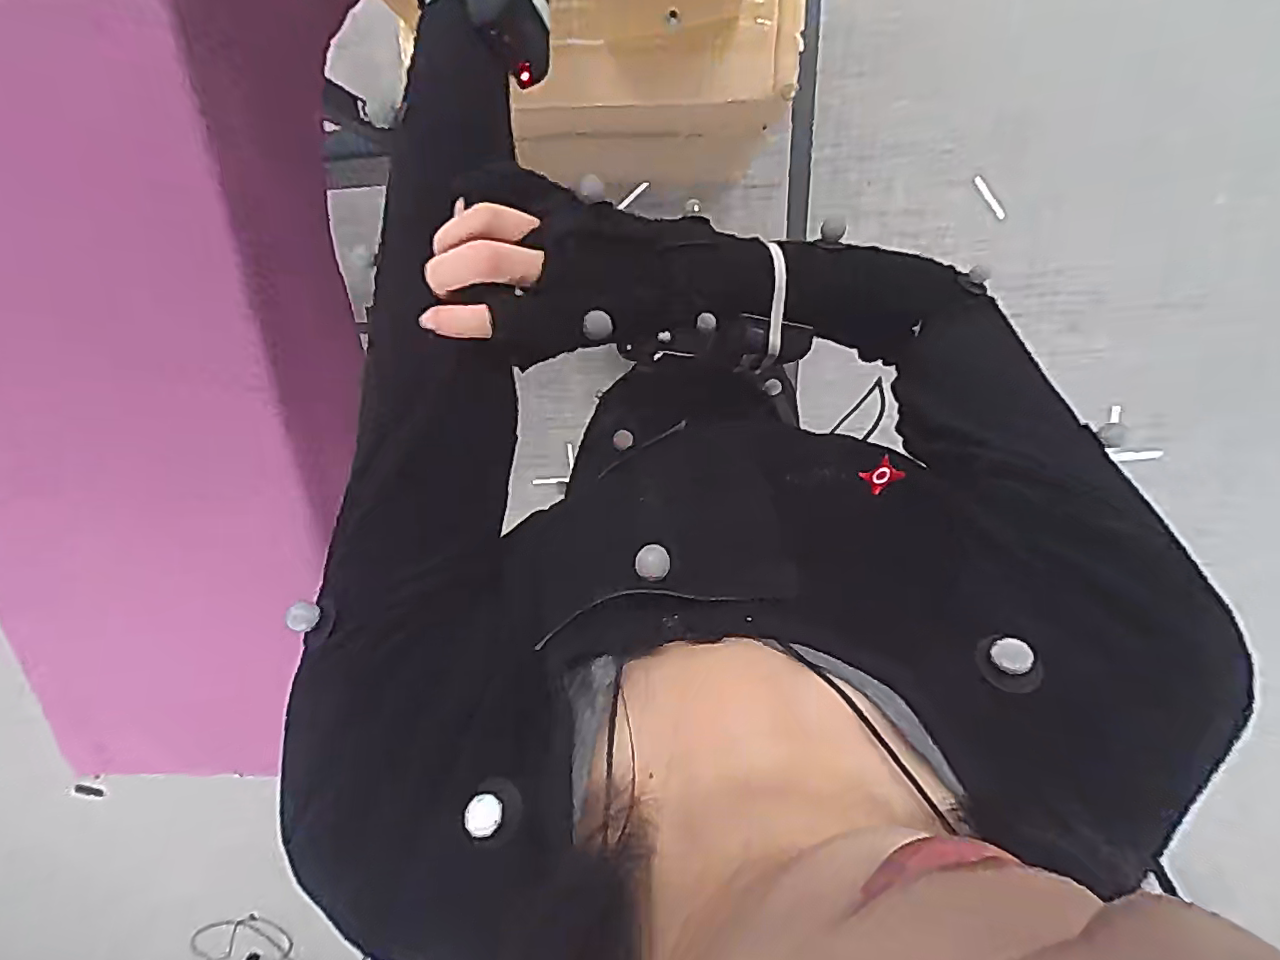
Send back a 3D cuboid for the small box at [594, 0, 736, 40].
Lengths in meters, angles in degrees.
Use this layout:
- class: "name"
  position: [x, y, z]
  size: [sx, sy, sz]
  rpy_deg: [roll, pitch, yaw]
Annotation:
- class: "small box"
  position: [0.025, -0.624, 0.591]
  size: [0.179, 0.176, 0.168]
  rpy_deg: [-7, 109, 6]
